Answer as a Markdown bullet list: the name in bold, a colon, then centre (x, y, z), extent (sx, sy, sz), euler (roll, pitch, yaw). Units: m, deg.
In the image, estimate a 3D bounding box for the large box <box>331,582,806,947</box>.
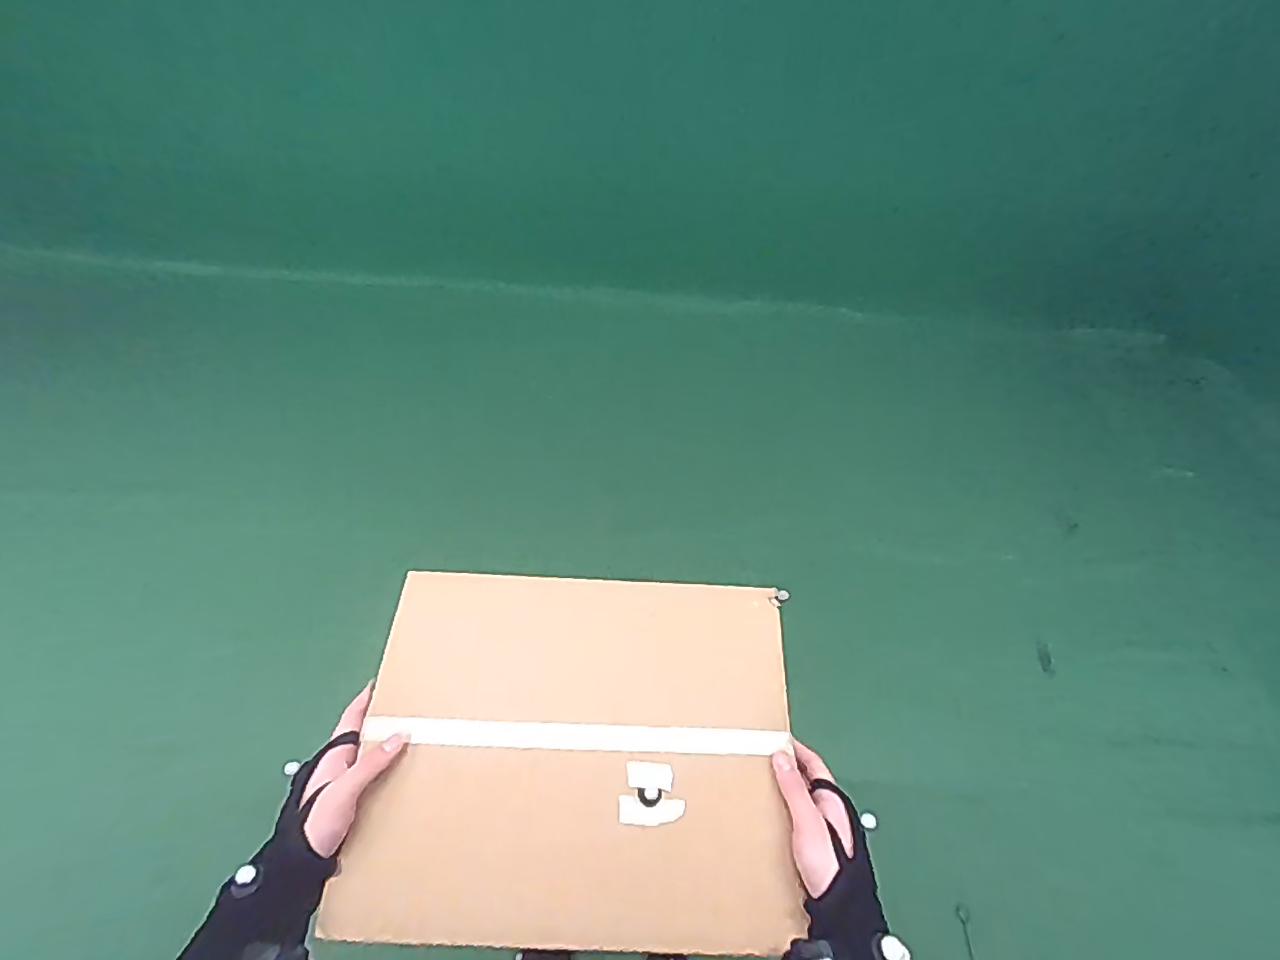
- **large box**: centre (-0.064, 0.331, 0.651), extent (0.408, 0.320, 0.320), euler (3, 58, -2)
